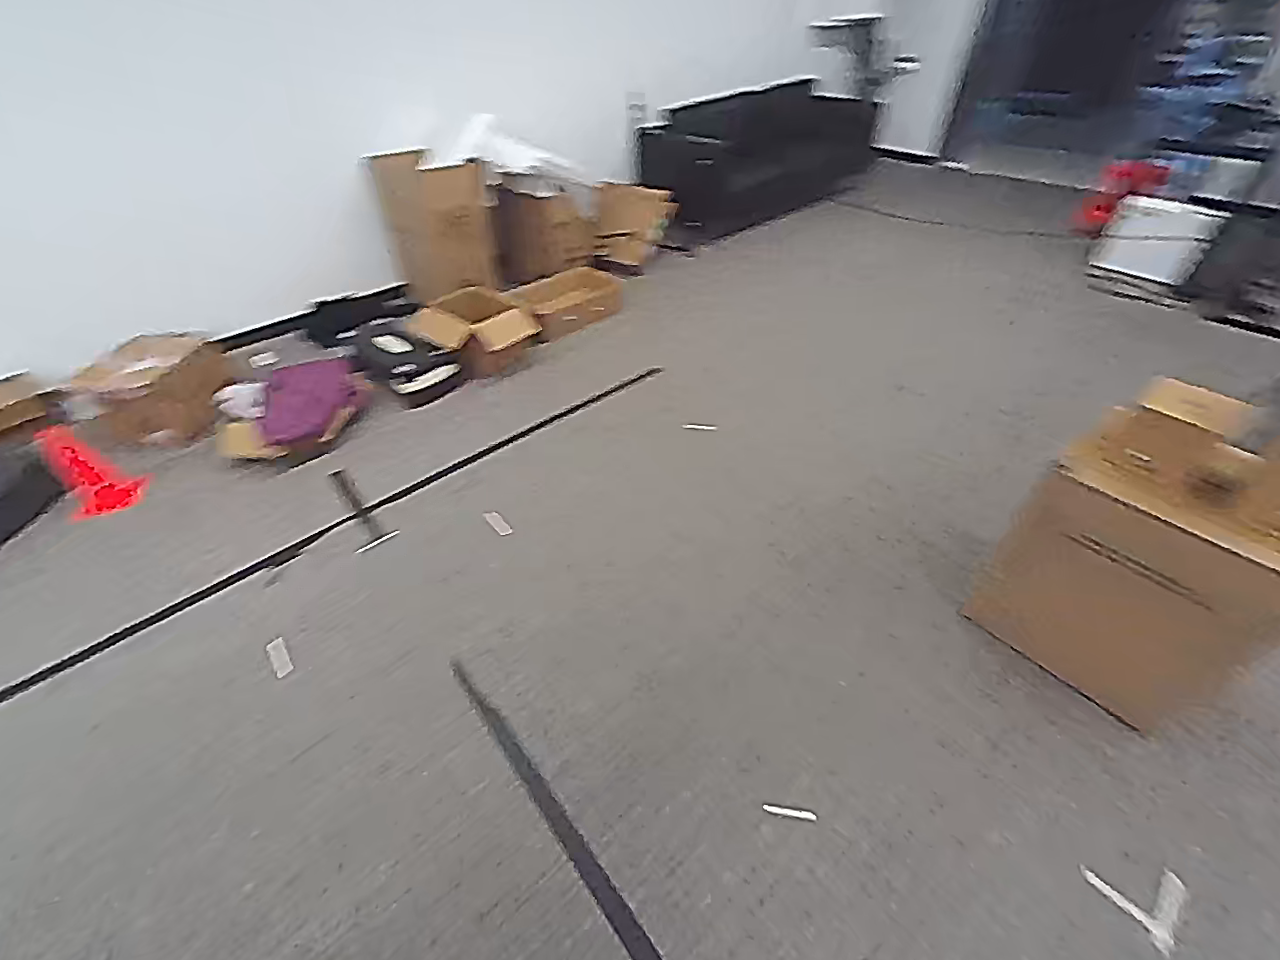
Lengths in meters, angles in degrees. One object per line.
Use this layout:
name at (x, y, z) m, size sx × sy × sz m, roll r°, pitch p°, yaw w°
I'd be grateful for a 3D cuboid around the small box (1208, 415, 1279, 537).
small box at (1.365, -0.003, 1.138) m, size 0.179 × 0.176 × 0.168 m, roll -32°, pitch 48°, yaw -27°

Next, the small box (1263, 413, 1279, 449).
small box at (1.363, -0.126, 1.029) m, size 0.179 × 0.176 × 0.168 m, roll -31°, pitch 48°, yaw -26°

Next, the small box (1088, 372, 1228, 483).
small box at (1.219, -0.125, 1.284) m, size 0.179 × 0.176 × 0.168 m, roll -32°, pitch 49°, yaw -27°
